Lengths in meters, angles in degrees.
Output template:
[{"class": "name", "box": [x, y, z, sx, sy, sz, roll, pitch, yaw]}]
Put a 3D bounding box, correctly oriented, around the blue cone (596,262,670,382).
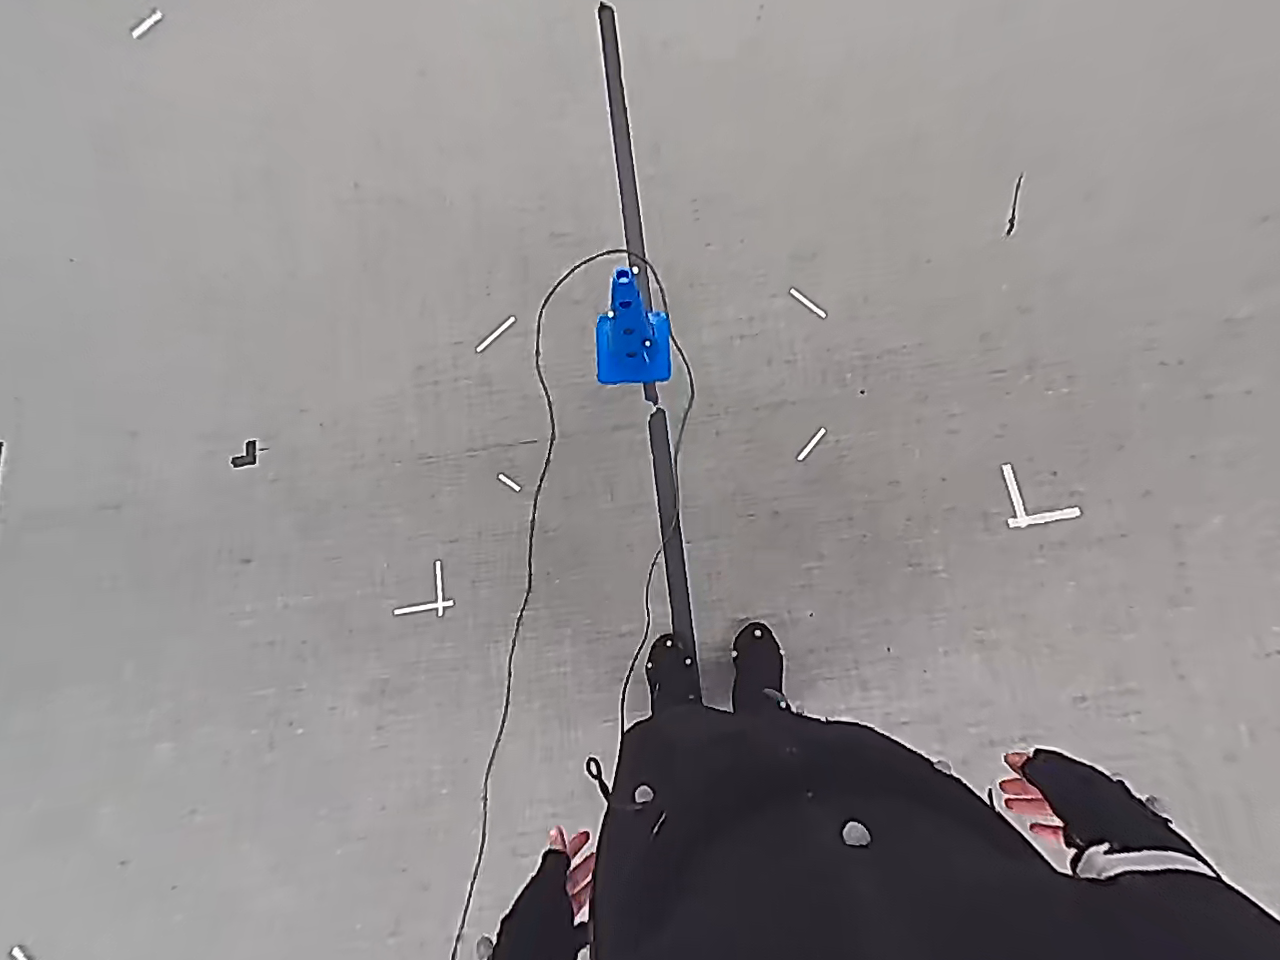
[{"class": "blue cone", "box": [-0.029, -0.384, 1.280, 0.193, 0.380, 0.192, -5, 79, 3]}]
